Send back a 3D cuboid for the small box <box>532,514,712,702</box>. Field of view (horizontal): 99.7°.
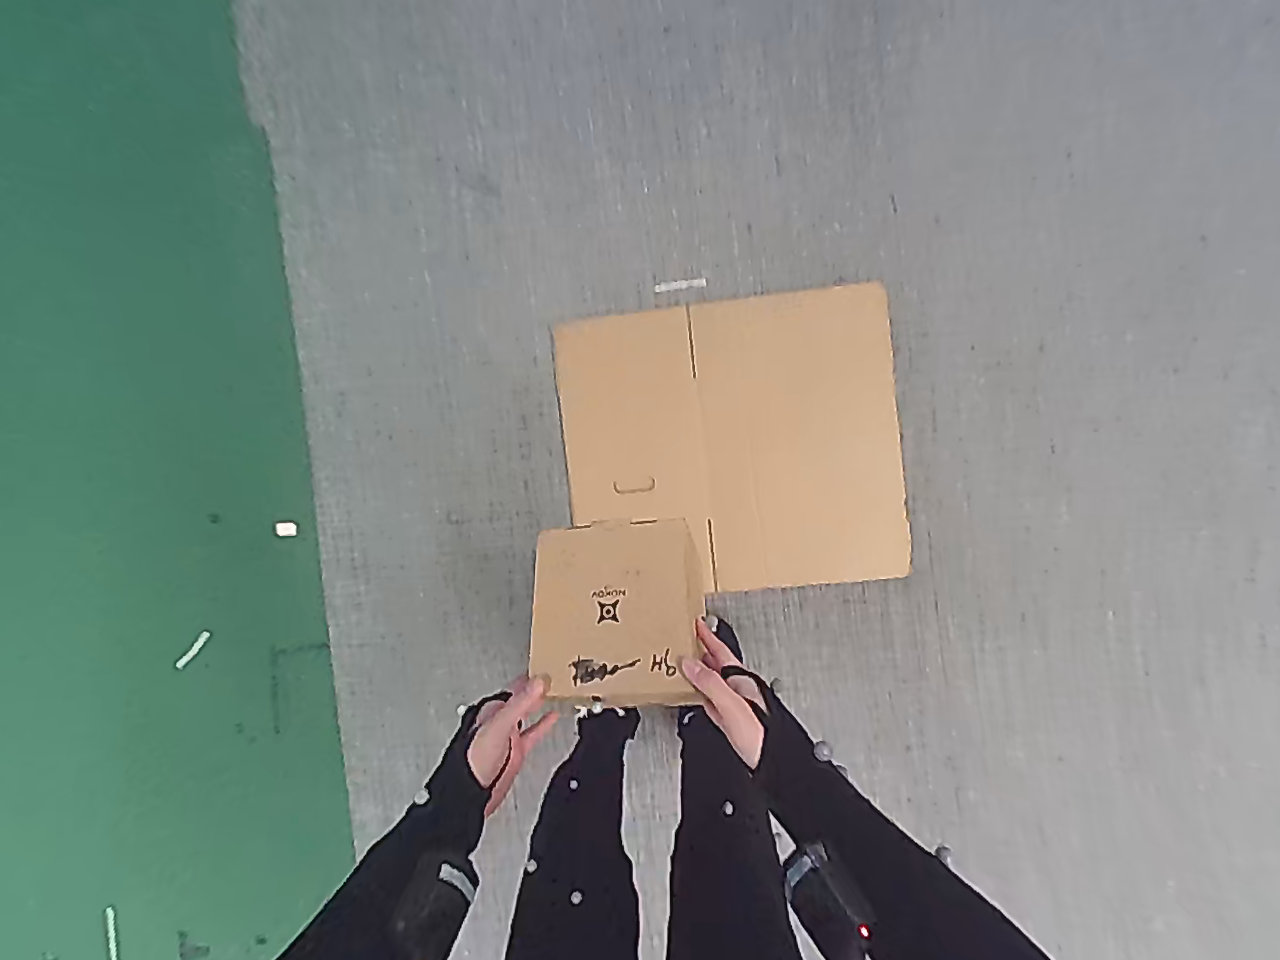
[{"bbox_3d":[-0.009,0.155,0.625,0.168,0.176,0.179,-6,63,12],"label":"small box"}]
